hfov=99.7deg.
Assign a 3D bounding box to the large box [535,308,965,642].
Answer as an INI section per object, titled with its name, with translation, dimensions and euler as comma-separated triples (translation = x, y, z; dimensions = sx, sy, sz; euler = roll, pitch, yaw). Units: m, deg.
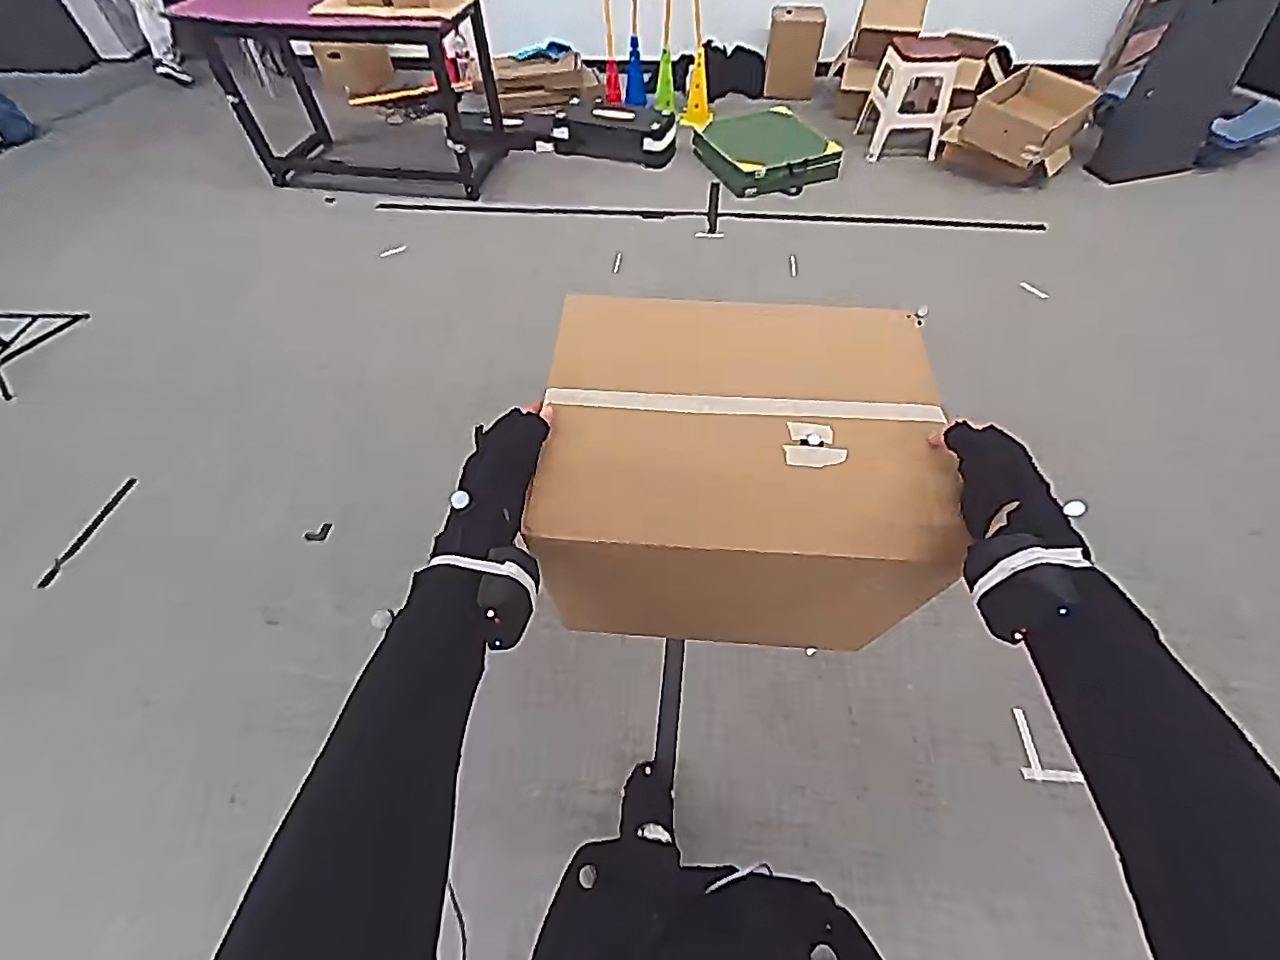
[large box]
translation = 0.106, 0.008, 0.697
dimensions = 0.408, 0.320, 0.320
euler = 4, 60, 2
